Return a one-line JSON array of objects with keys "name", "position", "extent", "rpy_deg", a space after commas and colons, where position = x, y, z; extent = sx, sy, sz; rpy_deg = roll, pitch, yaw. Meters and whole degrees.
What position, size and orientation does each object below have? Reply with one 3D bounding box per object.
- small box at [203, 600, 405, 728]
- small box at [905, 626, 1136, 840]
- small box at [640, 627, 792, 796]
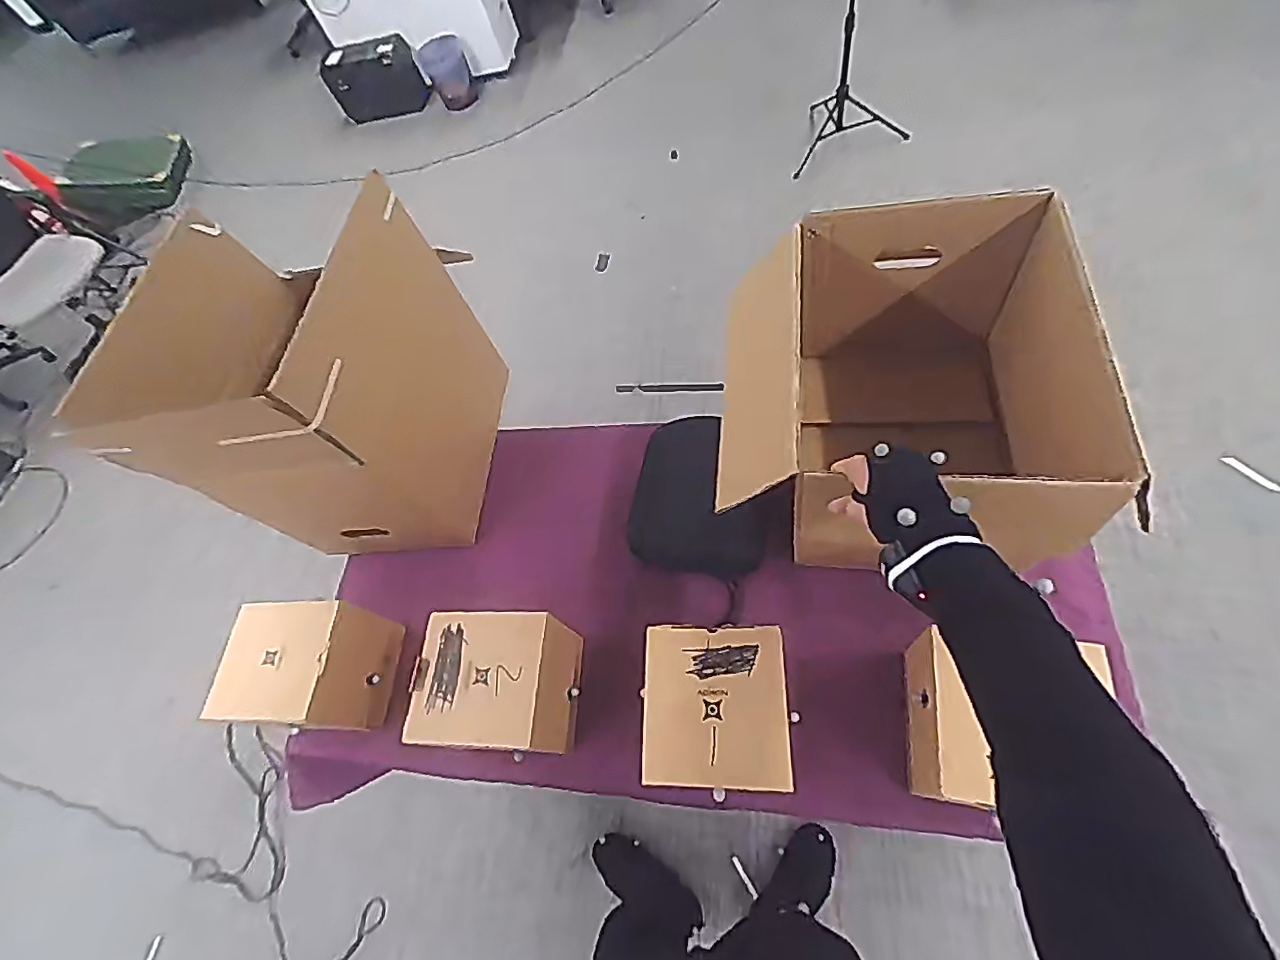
[{"name": "small box", "position": [-0.508, 0.292, 0.844], "extent": [0.179, 0.176, 0.168], "rpy_deg": [-3, 61, 11]}, {"name": "small box", "position": [0.407, 0.284, 0.618], "extent": [0.168, 0.176, 0.179], "rpy_deg": [4, 63, 17]}, {"name": "small box", "position": [0.101, 0.295, 0.690], "extent": [0.168, 0.176, 0.179], "rpy_deg": [-3, 62, 13]}]
